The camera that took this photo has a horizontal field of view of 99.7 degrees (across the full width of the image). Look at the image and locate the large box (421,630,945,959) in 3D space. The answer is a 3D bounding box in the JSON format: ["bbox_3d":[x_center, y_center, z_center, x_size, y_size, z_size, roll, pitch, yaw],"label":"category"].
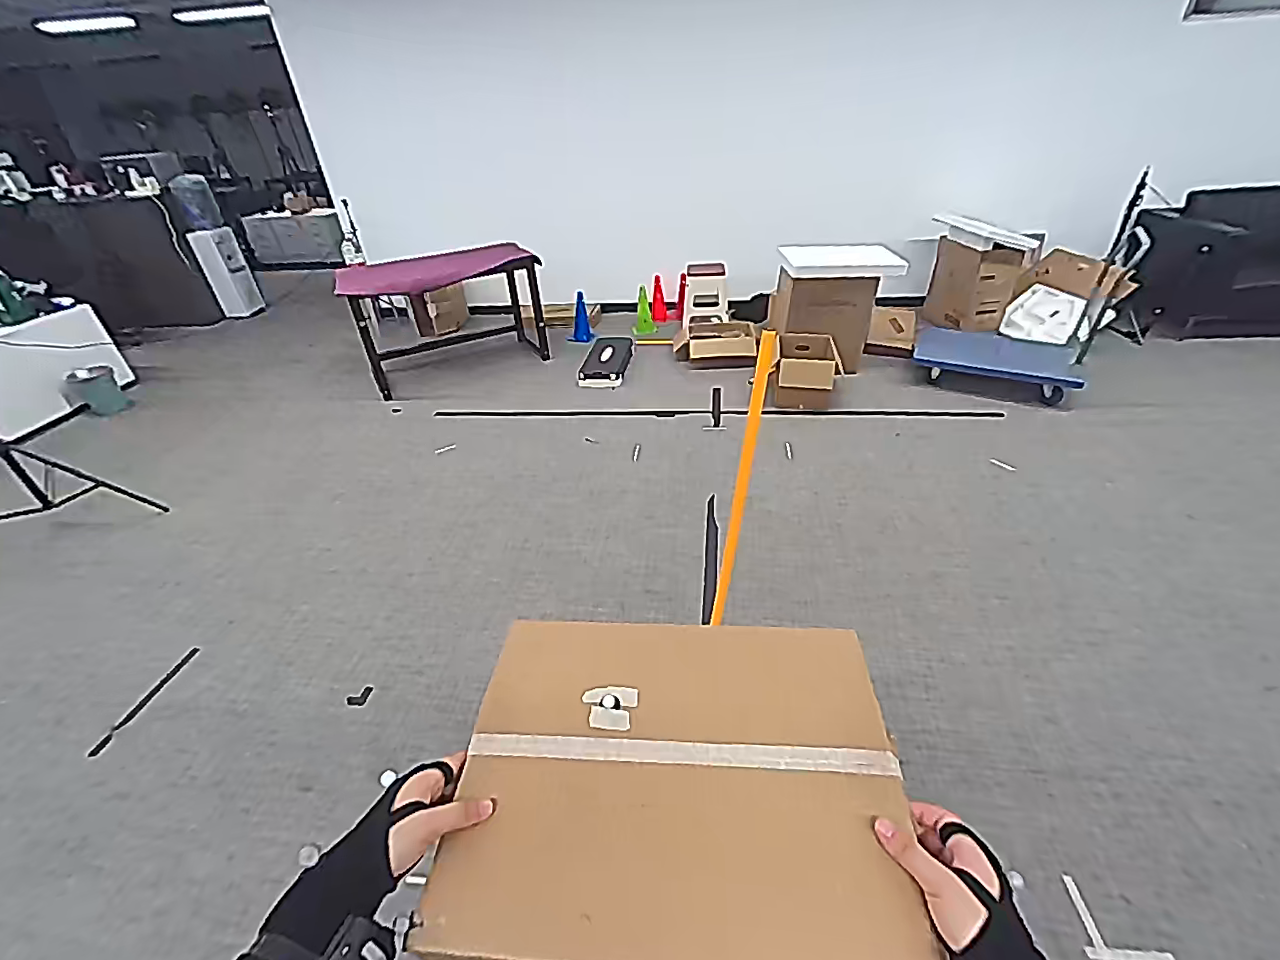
[{"bbox_3d":[0.049,0.390,0.609,0.408,0.320,0.320,-2,35,7],"label":"large box"}]
